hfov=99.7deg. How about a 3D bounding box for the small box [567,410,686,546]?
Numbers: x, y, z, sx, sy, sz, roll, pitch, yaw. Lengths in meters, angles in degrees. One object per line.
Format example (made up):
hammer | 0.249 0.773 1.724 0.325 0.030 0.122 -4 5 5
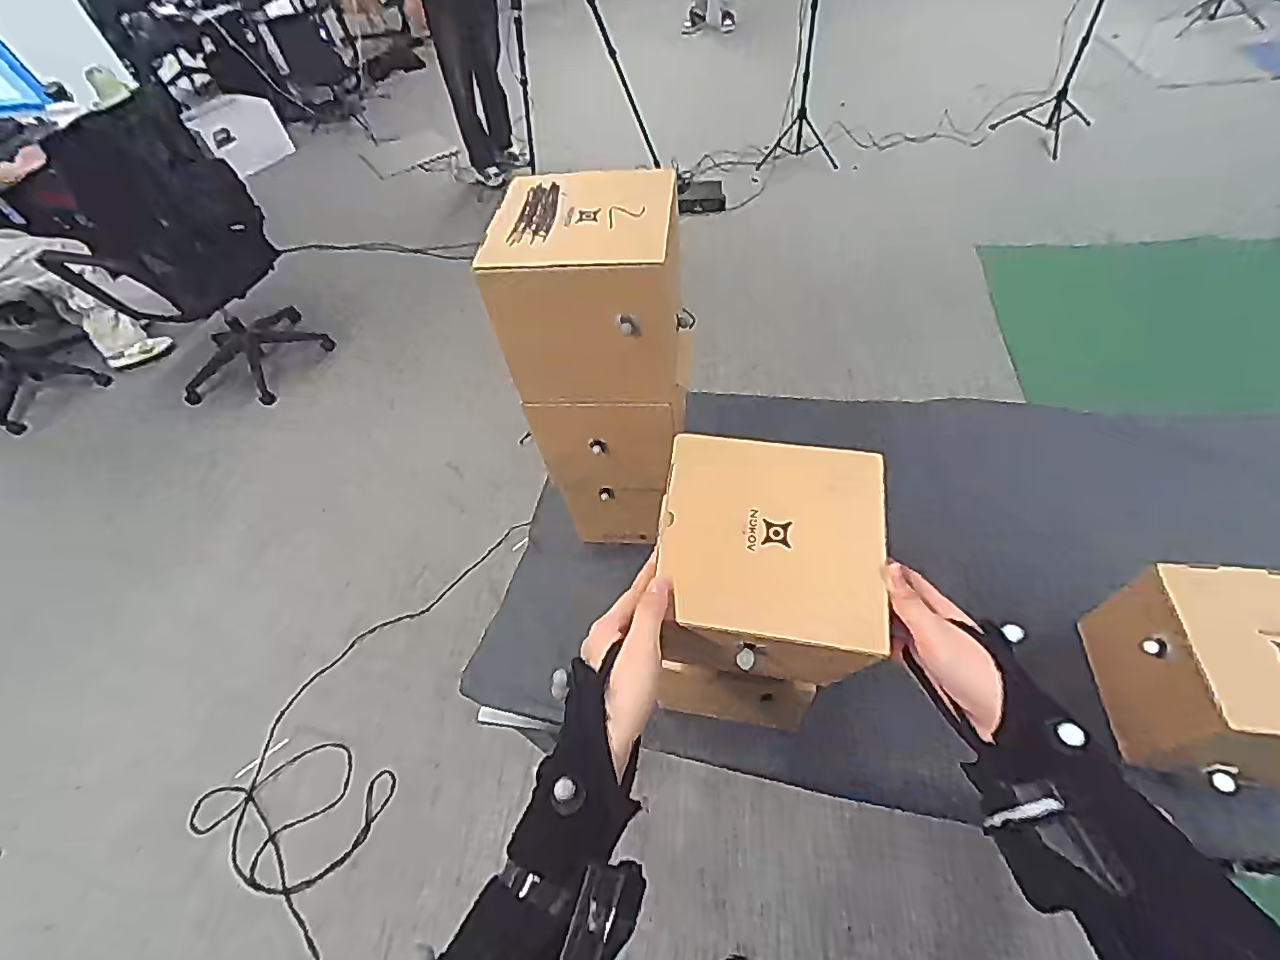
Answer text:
small box | -0.014 -0.015 0.851 0.168 0.176 0.179 0 54 8

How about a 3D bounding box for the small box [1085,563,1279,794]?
small box | 0.629 0.212 0.580 0.168 0.176 0.179 3 52 12

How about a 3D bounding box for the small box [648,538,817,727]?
small box | 0.116 0.193 0.671 0.179 0.176 0.168 5 53 12

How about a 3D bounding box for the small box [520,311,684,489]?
small box | -0.035 -0.100 0.711 0.179 0.176 0.168 0 54 9
